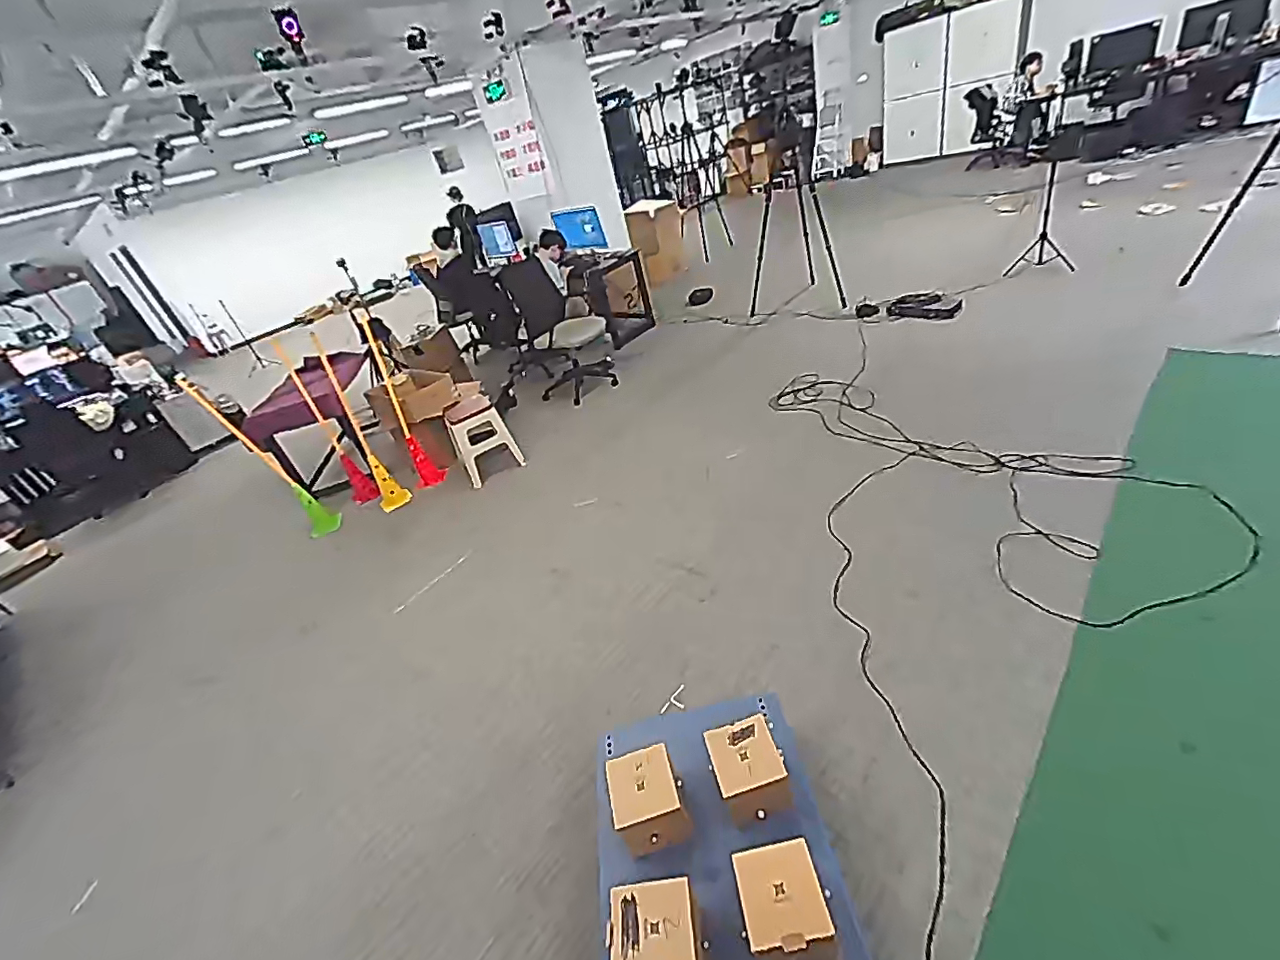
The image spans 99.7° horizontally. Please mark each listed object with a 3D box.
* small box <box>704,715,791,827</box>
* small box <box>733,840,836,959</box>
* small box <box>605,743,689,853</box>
[{"bbox_3d":[0.277,0.750,1.395,0.168,0.176,0.179,-18,34,-1],"label":"small box"},{"bbox_3d":[0.304,0.910,1.147,0.168,0.176,0.179,-15,33,2],"label":"small box"},{"bbox_3d":[0.019,0.825,1.395,0.168,0.176,0.179,-17,33,-2],"label":"small box"}]
